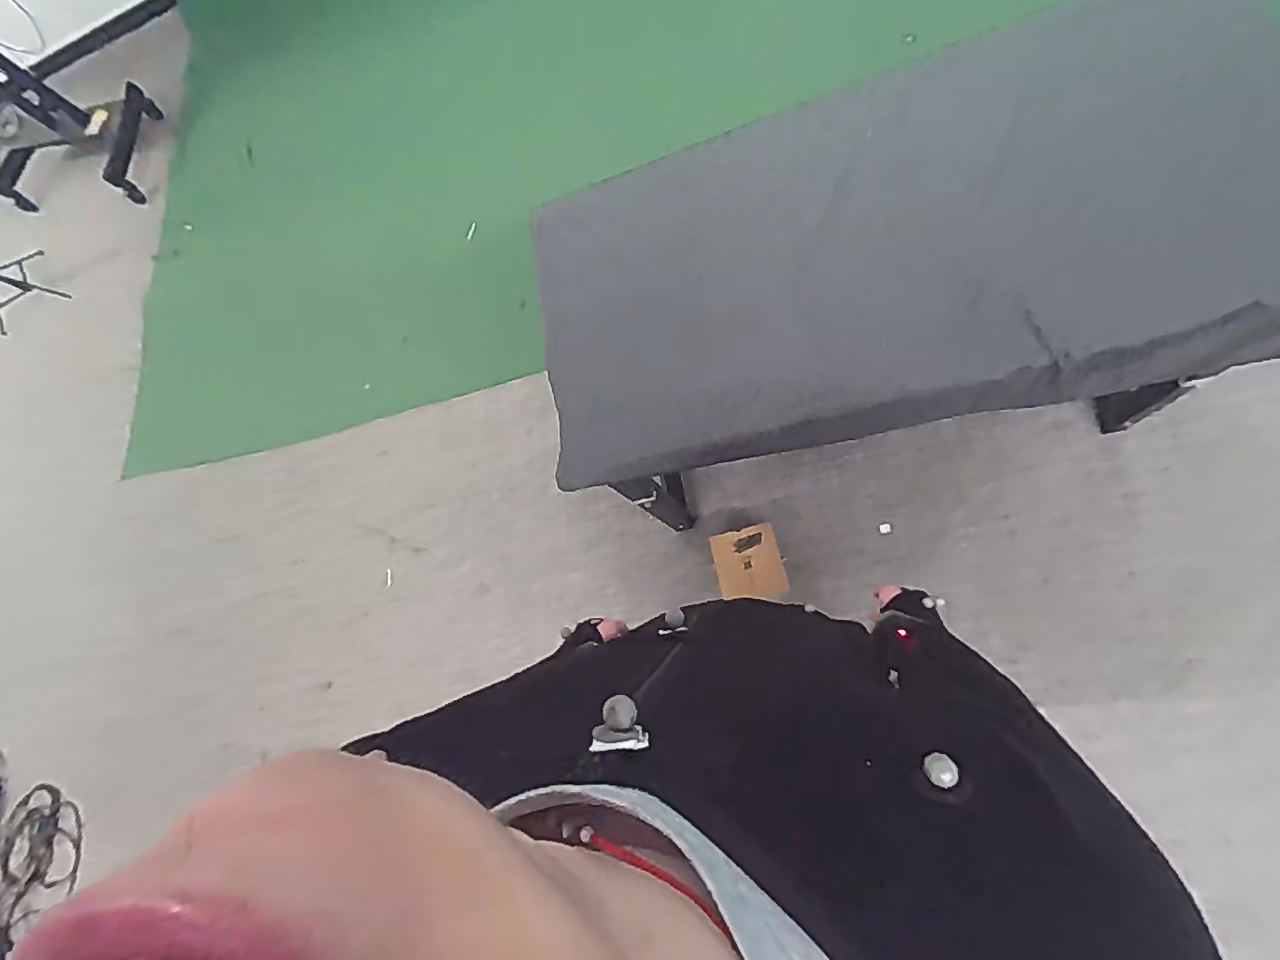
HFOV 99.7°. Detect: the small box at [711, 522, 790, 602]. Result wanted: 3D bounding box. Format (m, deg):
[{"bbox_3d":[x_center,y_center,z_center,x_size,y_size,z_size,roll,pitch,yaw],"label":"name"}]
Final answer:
[{"bbox_3d":[0.298,0.226,1.448,0.168,0.176,0.179,-16,73,13],"label":"small box"}]
